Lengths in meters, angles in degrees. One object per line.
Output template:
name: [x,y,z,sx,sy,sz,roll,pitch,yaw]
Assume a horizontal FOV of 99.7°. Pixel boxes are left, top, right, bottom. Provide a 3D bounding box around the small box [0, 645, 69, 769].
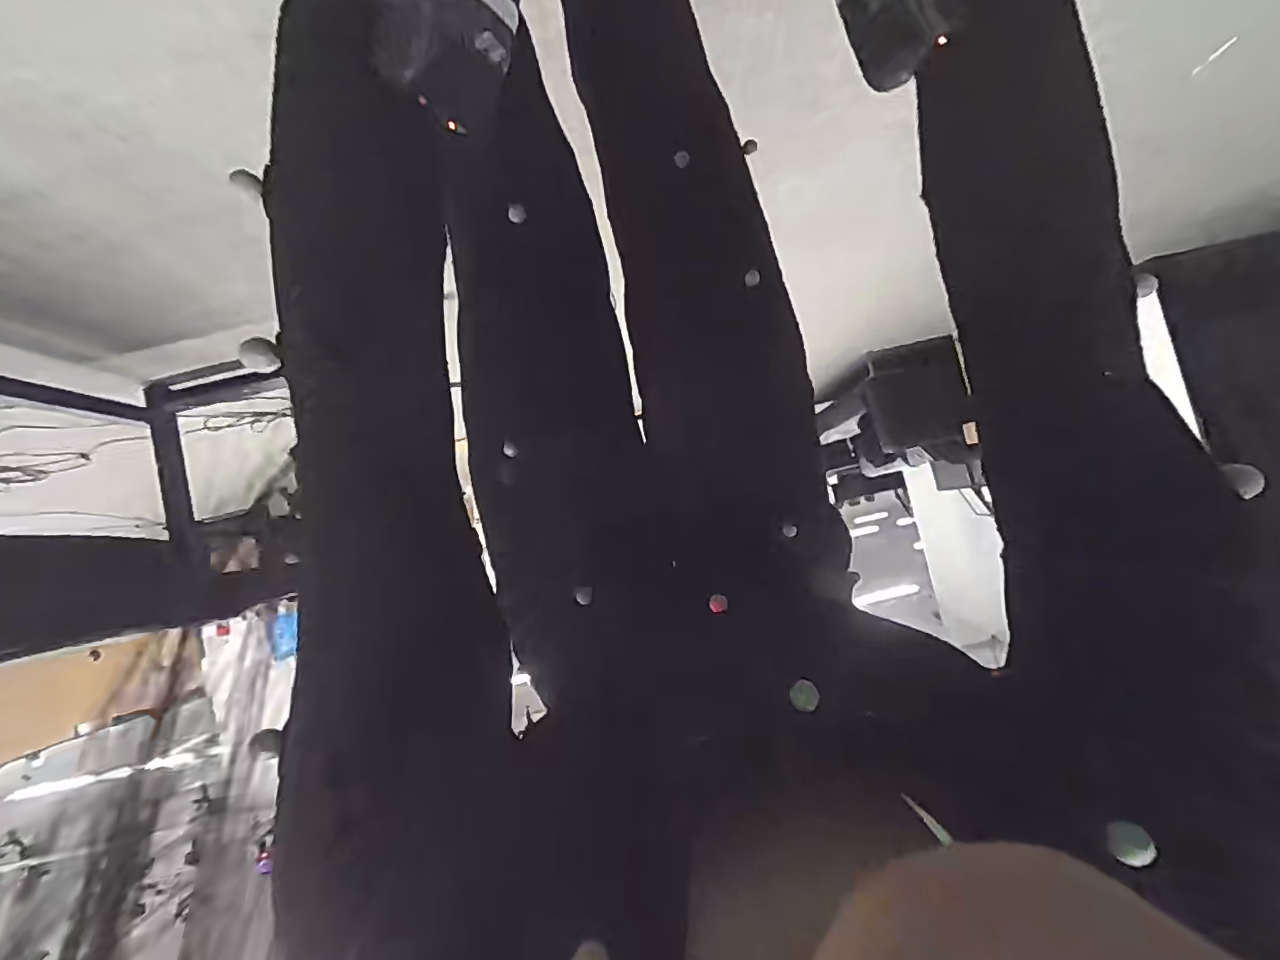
small box: [-1.053,0.369,0.824,0.168,0.176,0.179,-13,176,2]
